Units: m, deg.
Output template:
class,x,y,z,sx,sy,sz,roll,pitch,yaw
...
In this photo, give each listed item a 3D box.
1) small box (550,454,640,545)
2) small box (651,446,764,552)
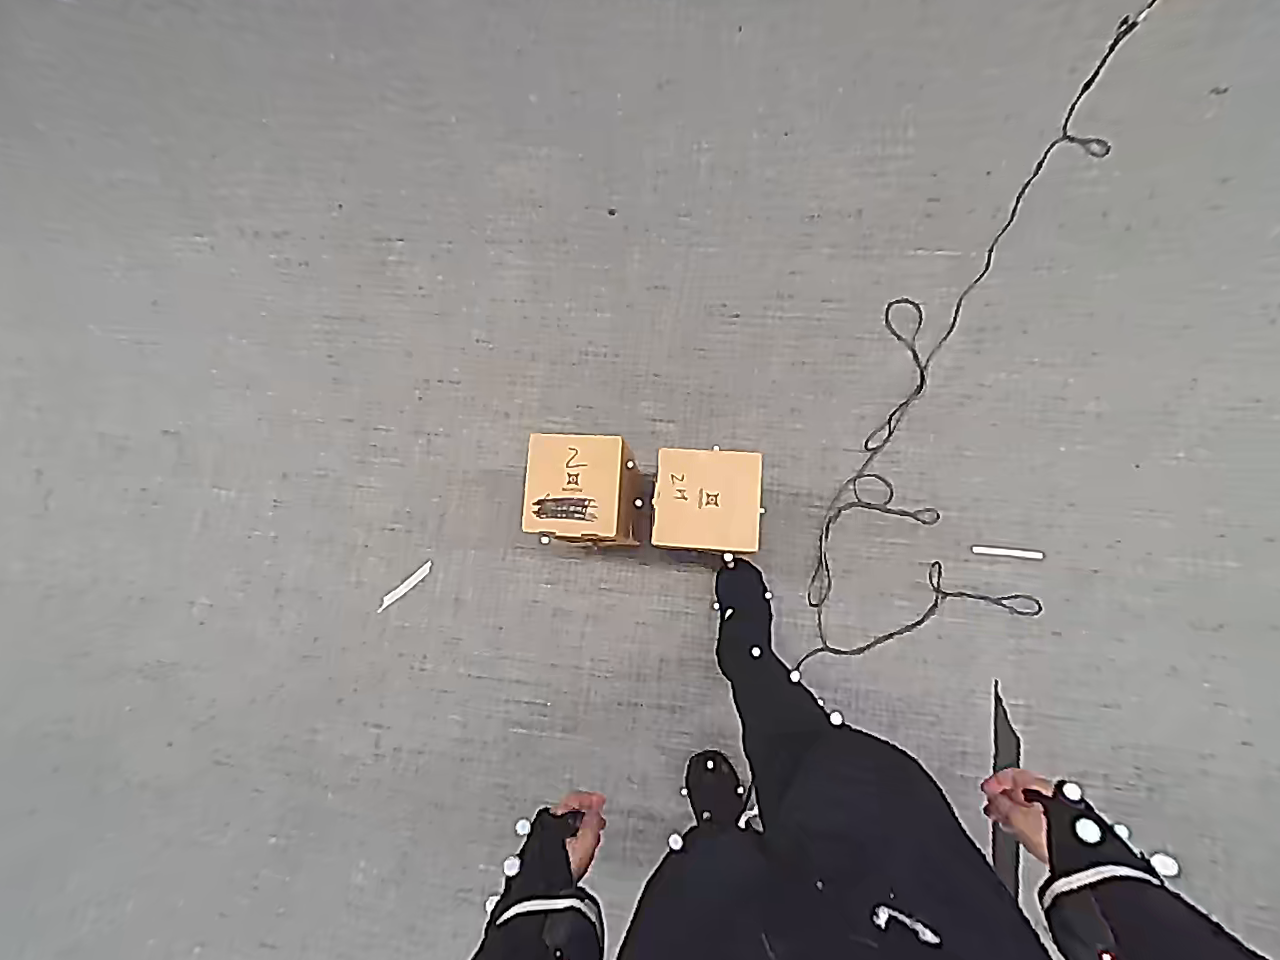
class,x,y,z,sx,sy,sz,roll,pitch,yaw
small box,-0.091,0.047,1.159,0.168,0.176,0.179,-2,82,6
small box,0.119,0.040,0.964,0.179,0.176,0.168,4,81,8
